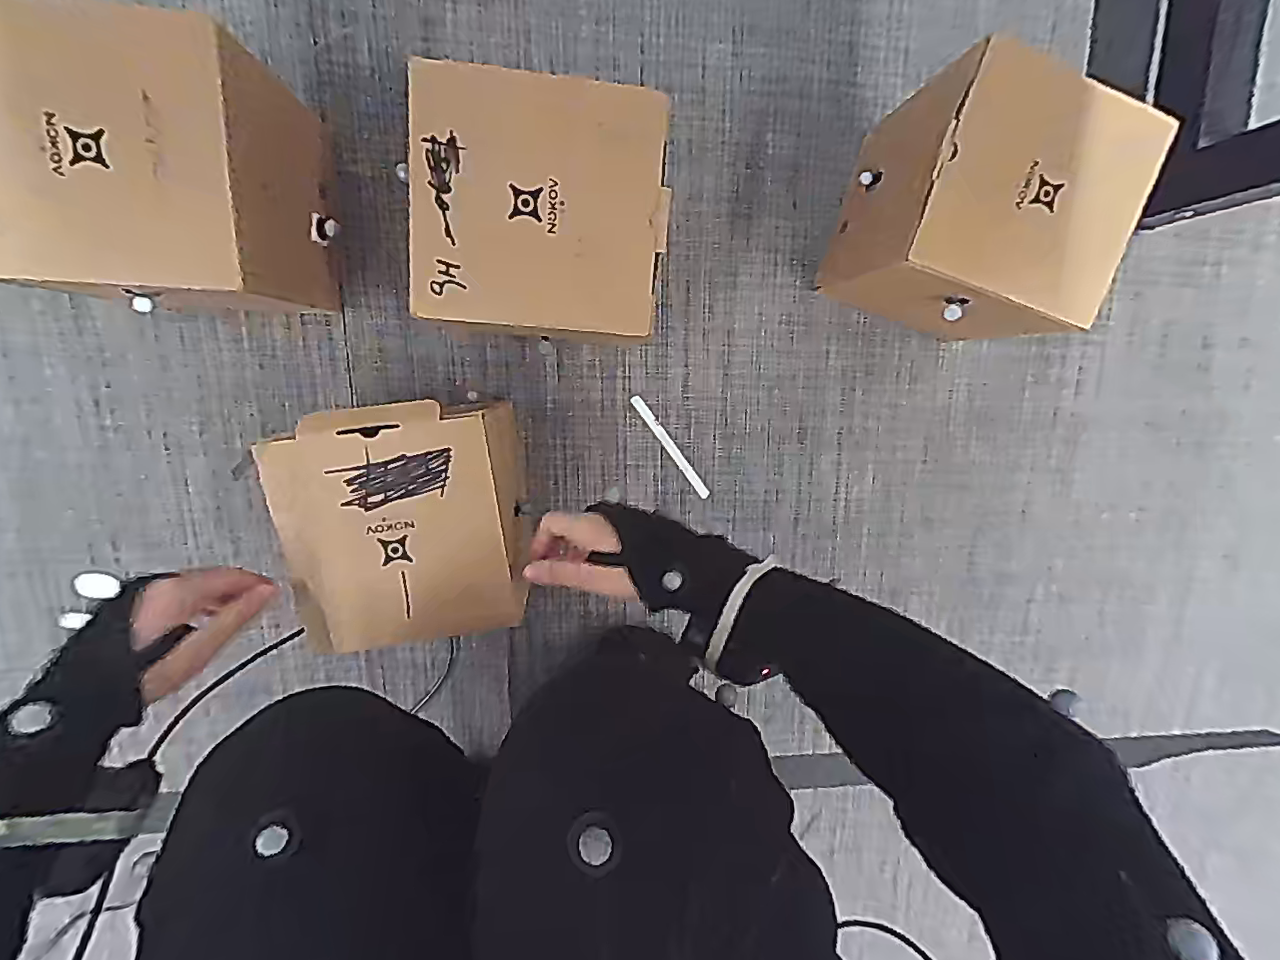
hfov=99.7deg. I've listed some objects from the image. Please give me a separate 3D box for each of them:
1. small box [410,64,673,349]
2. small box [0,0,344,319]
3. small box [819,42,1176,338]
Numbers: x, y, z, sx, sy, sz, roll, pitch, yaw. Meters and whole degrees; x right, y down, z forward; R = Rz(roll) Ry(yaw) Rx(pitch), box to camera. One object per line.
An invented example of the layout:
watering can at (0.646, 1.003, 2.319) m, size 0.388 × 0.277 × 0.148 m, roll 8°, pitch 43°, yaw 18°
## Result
small box at (-0.079, -0.202, 0.455) m, size 0.179 × 0.176 × 0.168 m, roll 4°, pitch 101°, yaw -7°
small box at (-0.359, -0.220, 0.420) m, size 0.179 × 0.176 × 0.168 m, roll 1°, pitch 102°, yaw -7°
small box at (0.298, -0.234, 0.492) m, size 0.179 × 0.176 × 0.168 m, roll 16°, pitch 99°, yaw -8°
